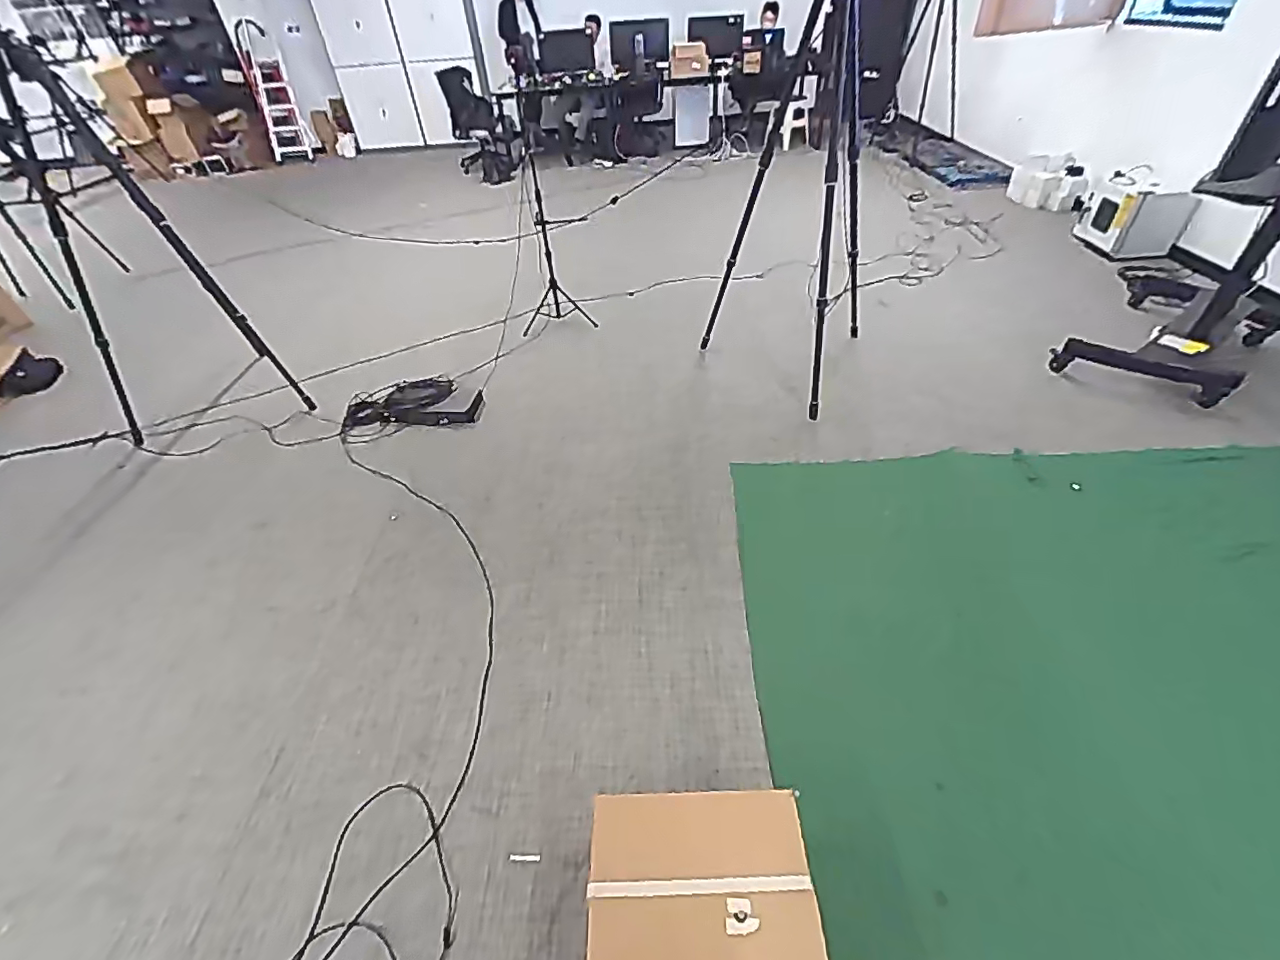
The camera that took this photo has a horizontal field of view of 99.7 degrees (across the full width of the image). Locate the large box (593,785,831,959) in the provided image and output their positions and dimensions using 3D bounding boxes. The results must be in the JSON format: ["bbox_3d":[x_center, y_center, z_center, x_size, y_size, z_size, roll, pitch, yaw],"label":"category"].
[{"bbox_3d":[0.122,0.841,1.080,0.408,0.320,0.320,-3,42,1],"label":"large box"}]
